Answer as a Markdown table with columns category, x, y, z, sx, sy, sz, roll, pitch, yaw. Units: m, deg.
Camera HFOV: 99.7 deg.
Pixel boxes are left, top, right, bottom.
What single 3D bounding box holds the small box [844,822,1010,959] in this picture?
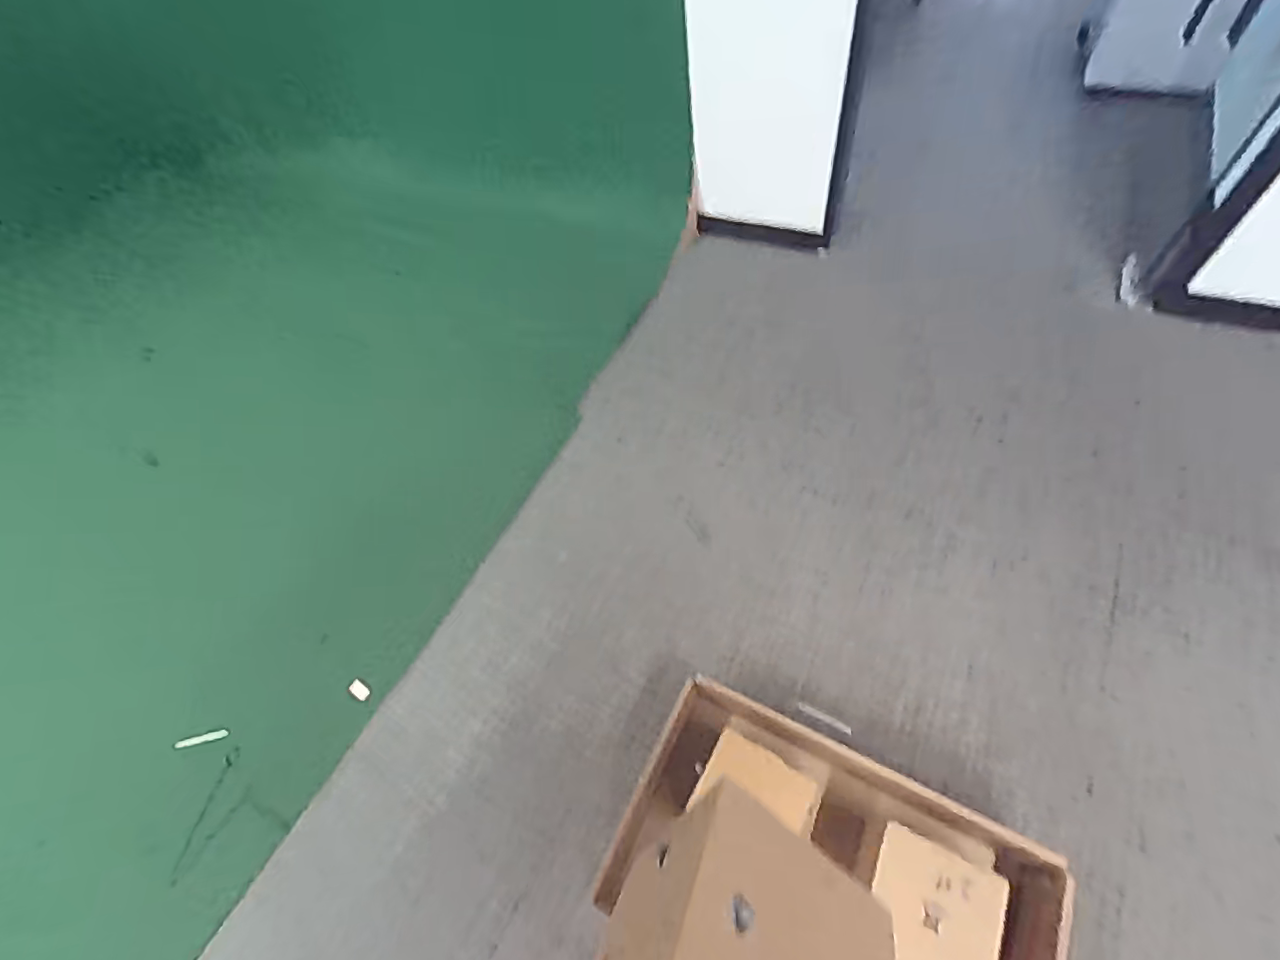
| category | x | y | z | sx | sy | sz | roll | pitch | yaw |
| --- | --- | --- | --- | --- | --- | --- | --- | --- | --- |
| small box | 0.421 | 0.653 | 0.819 | 0.168 | 0.176 | 0.179 | 21 | 64 | 21 |

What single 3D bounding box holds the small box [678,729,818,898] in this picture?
| category | x | y | z | sx | sy | sz | roll | pitch | yaw |
| --- | --- | --- | --- | --- | --- | --- | --- | --- | --- |
| small box | 0.184 | 0.562 | 0.922 | 0.168 | 0.176 | 0.179 | 25 | 65 | 22 |
